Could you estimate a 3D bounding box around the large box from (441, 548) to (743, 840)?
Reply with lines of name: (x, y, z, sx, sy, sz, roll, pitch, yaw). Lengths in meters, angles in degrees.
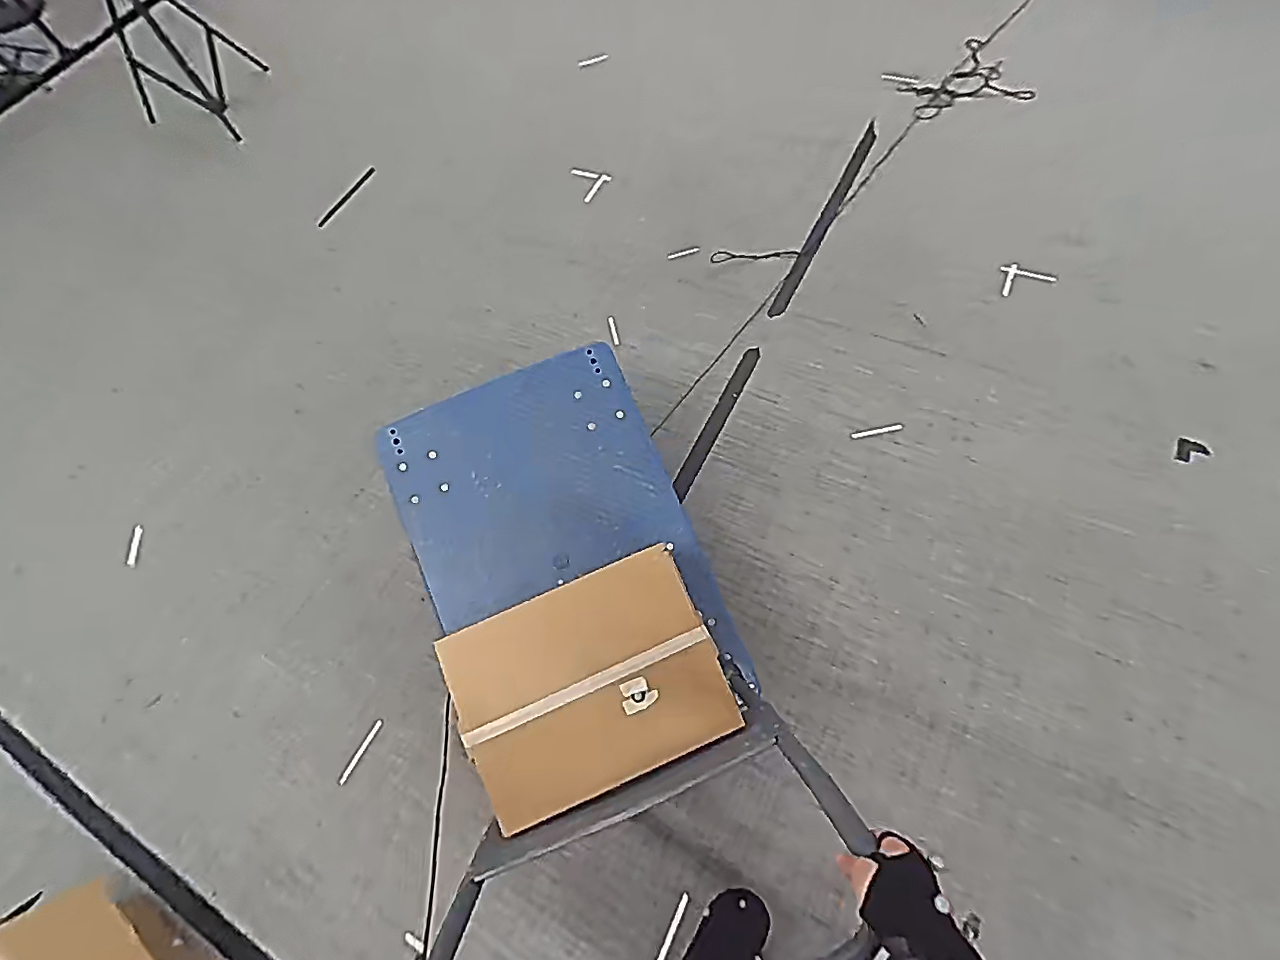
large box: (-0.081, 0.355, 0.998, 0.408, 0.320, 0.320, -24, 82, -5)
